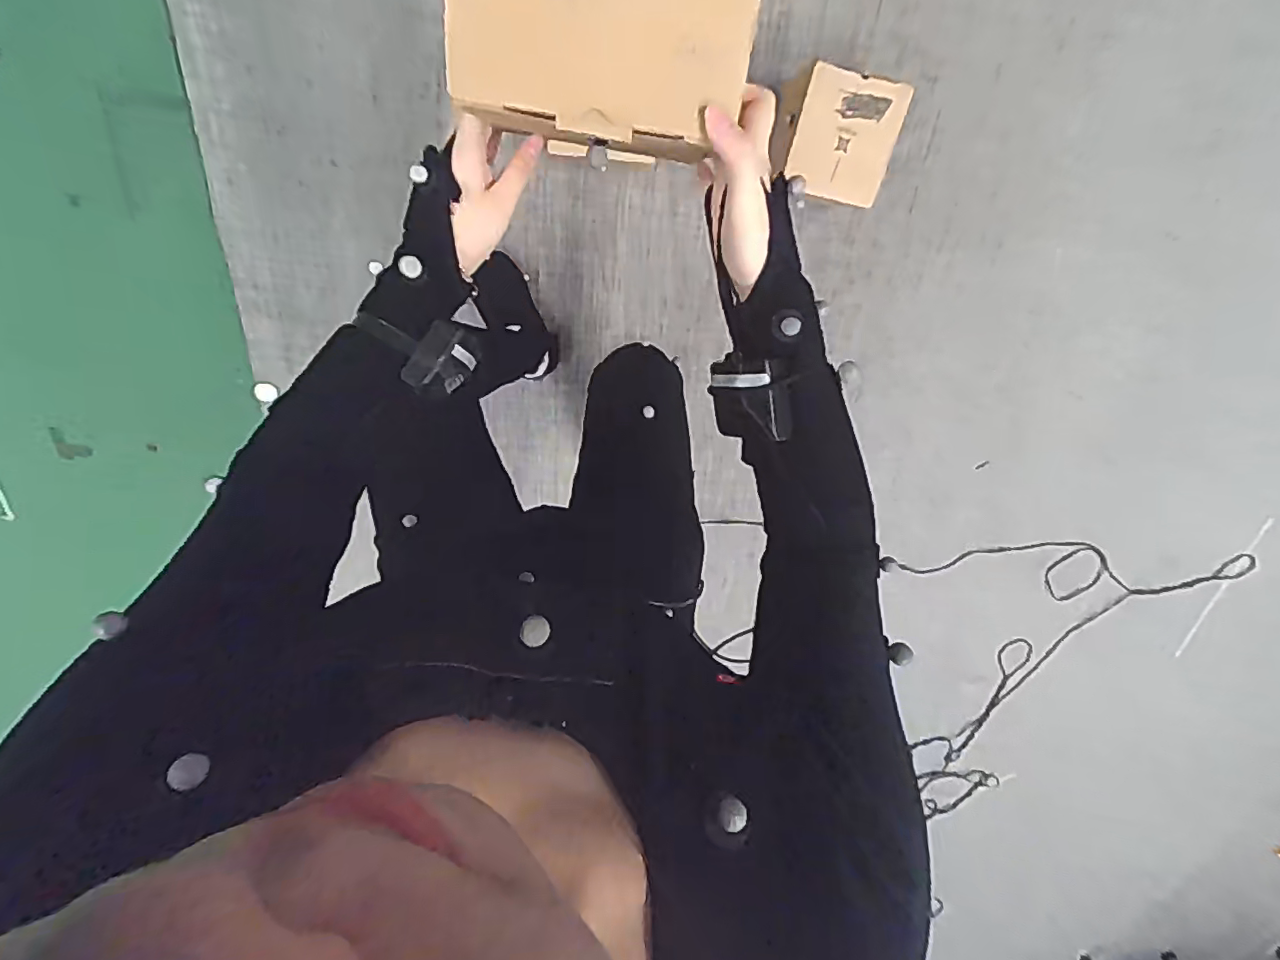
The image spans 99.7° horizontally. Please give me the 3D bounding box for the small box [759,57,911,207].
[{"bbox_3d":[0.320,-0.585,0.930,0.168,0.176,0.179,9,118,-7],"label":"small box"}]

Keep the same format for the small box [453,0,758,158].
[{"bbox_3d":[-0.016,-0.319,0.348,0.168,0.176,0.179,6,119,-6],"label":"small box"}]
